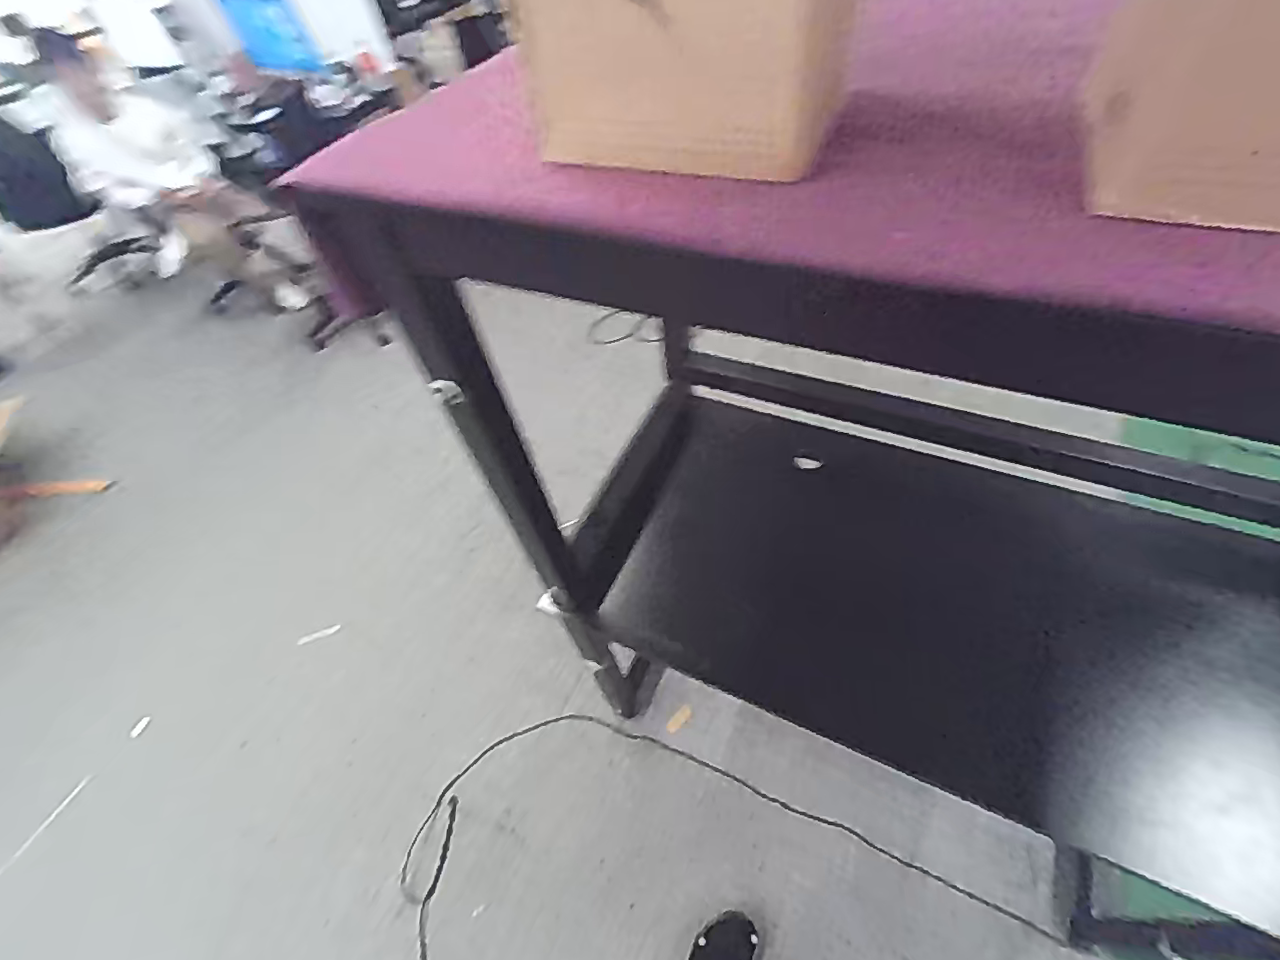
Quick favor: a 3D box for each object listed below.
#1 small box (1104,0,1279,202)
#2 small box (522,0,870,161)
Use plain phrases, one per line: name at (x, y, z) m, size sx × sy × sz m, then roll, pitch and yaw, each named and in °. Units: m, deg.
small box at (0.317, -0.218, 0.204) m, size 0.179 × 0.176 × 0.168 m, roll 17°, pitch 57°, yaw 20°
small box at (0.037, -0.309, 0.317) m, size 0.179 × 0.176 × 0.168 m, roll 16°, pitch 56°, yaw 20°
